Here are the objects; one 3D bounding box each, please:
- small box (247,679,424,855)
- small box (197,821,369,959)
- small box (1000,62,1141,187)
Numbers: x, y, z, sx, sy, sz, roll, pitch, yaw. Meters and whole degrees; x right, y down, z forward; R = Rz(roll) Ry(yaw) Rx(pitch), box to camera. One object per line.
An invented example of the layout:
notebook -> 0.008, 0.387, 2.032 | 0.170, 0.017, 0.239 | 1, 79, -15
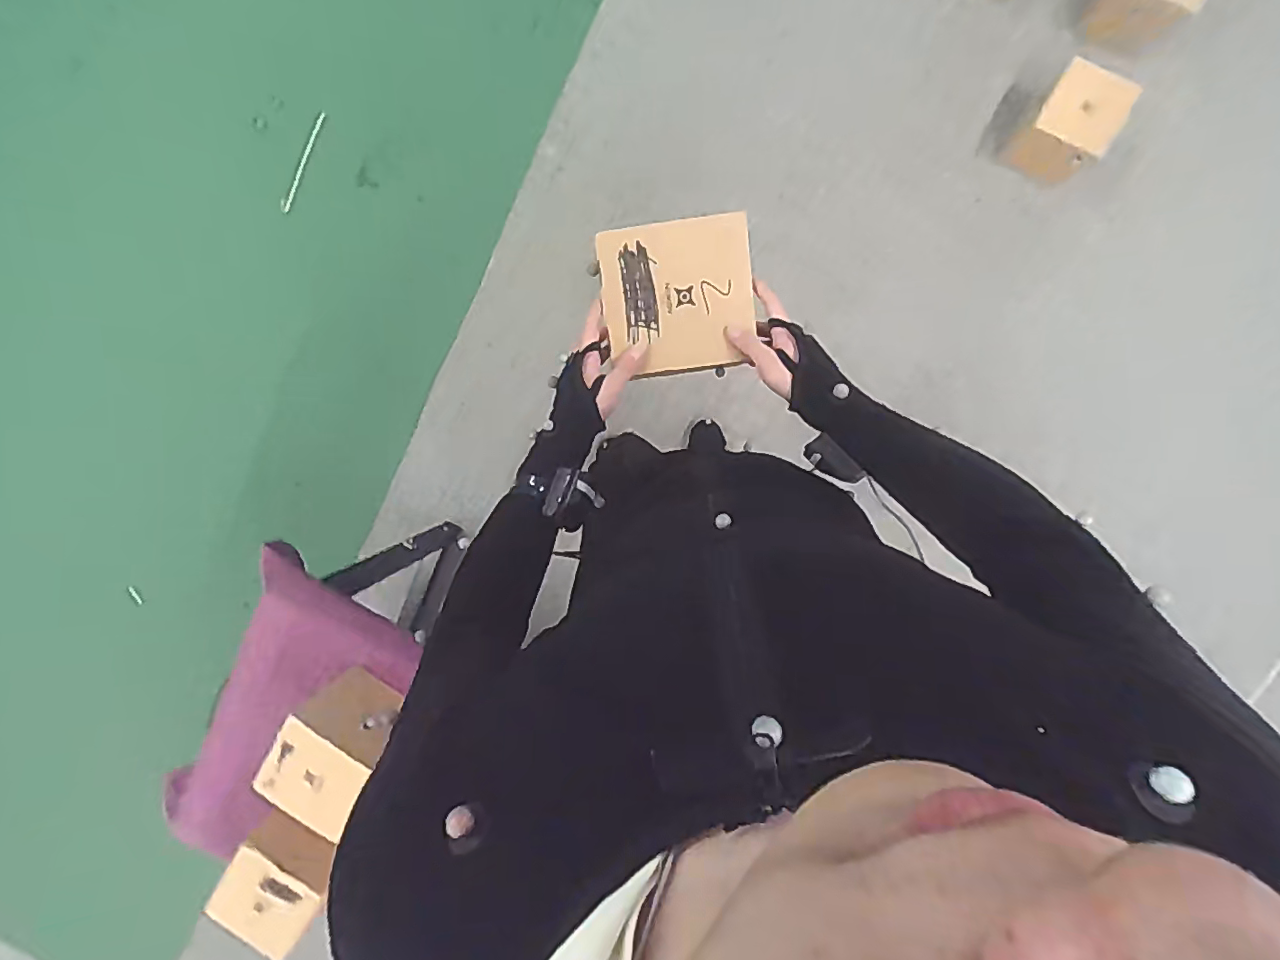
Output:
small box -> -0.511, 0.481, 0.934 | 0.179, 0.176, 0.168 | 33, 101, 1
small box -> -0.629, 0.721, 0.979 | 0.168, 0.176, 0.179 | 33, 100, 2
small box -> 1.031, -0.852, 1.317 | 0.179, 0.176, 0.168 | 27, 99, 2
